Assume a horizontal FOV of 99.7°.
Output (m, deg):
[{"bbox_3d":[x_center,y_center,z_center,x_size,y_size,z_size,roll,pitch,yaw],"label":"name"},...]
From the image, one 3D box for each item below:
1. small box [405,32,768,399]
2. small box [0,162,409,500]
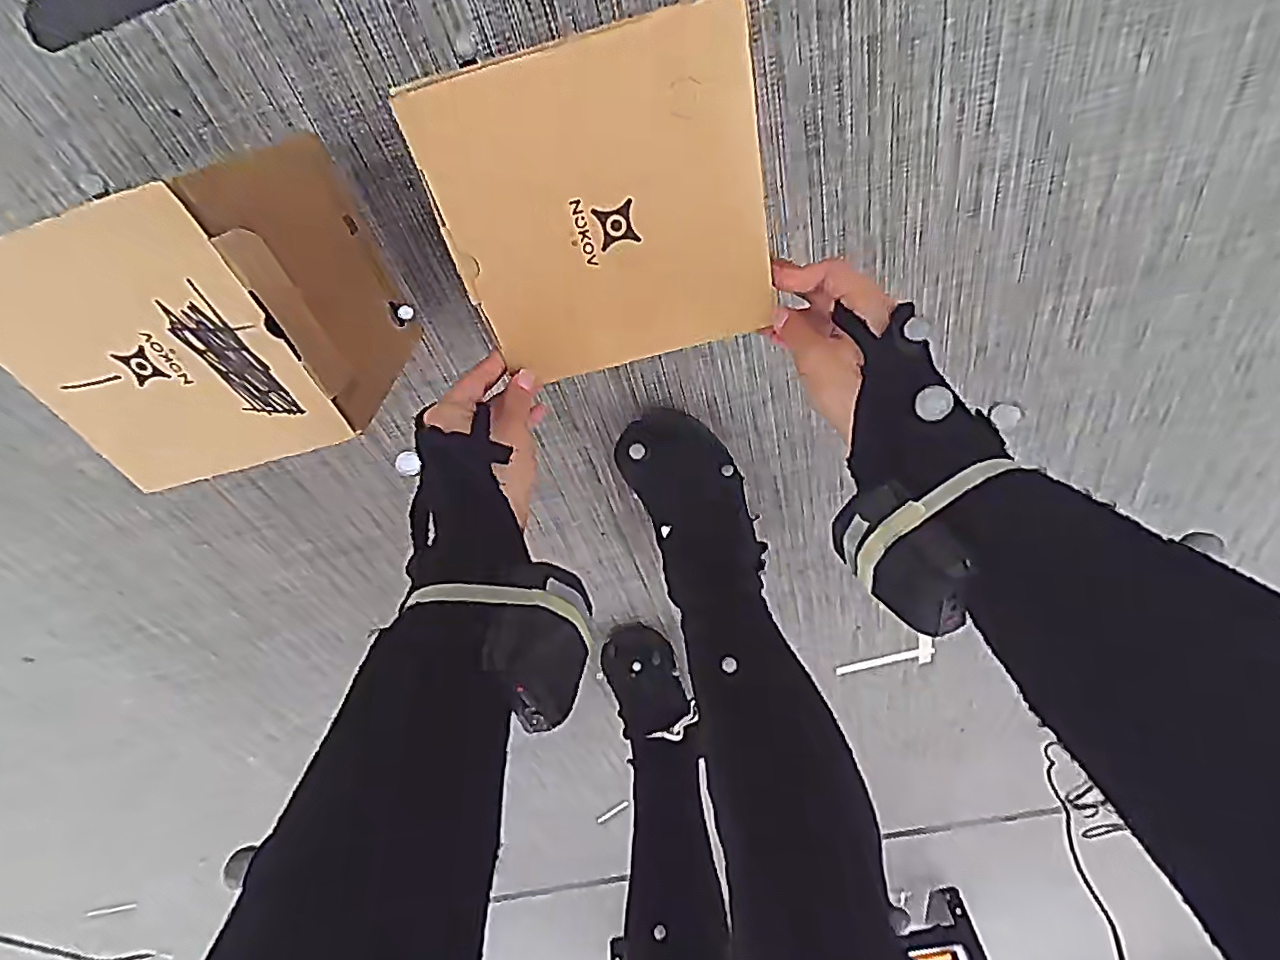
[{"bbox_3d":[-0.023,-0.184,0.372,0.179,0.176,0.168,-13,128,6],"label":"small box"},{"bbox_3d":[-0.297,-0.115,0.403,0.179,0.176,0.168,-13,128,7],"label":"small box"}]
